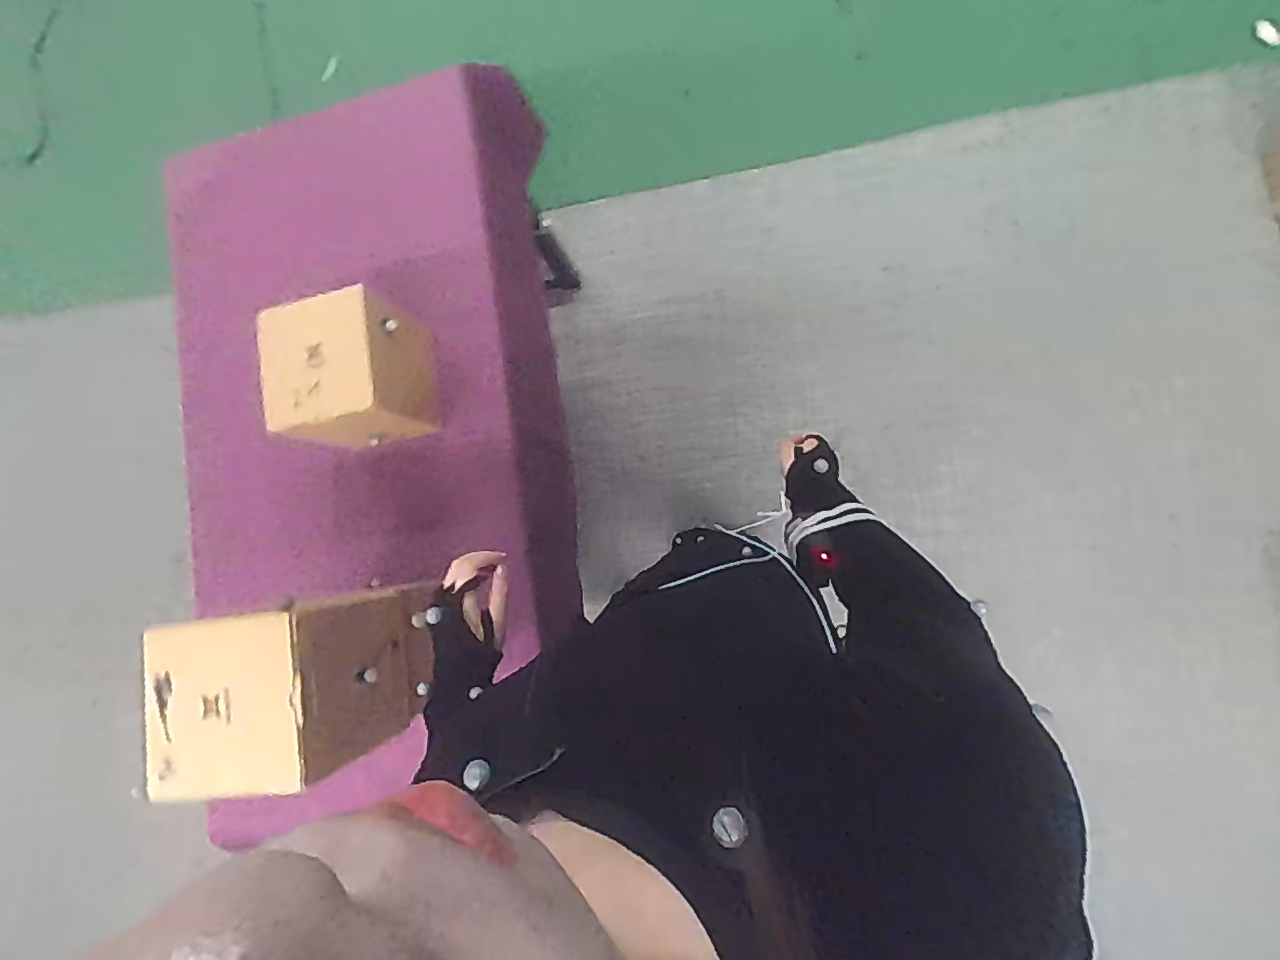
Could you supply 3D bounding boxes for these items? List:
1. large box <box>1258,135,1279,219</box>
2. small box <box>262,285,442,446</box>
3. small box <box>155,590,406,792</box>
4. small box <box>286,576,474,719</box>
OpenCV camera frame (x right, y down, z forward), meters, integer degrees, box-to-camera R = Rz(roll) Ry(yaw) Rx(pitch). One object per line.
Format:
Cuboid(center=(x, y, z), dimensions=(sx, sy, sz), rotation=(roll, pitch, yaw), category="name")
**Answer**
Cuboid(center=(1.705, -0.714, 1.137), dimensions=(0.408, 0.320, 0.320), rotation=(-9, 83, 8), category="large box")
Cuboid(center=(-0.421, -0.159, 0.810), dimensions=(0.168, 0.176, 0.179), rotation=(-11, 84, 10), category="small box")
Cuboid(center=(-0.383, 0.222, 0.606), dimensions=(0.179, 0.176, 0.168), rotation=(-9, 83, 9), category="small box")
Cuboid(center=(-0.361, 0.233, 0.768), dimensions=(0.179, 0.176, 0.168), rotation=(-9, 84, 9), category="small box")
